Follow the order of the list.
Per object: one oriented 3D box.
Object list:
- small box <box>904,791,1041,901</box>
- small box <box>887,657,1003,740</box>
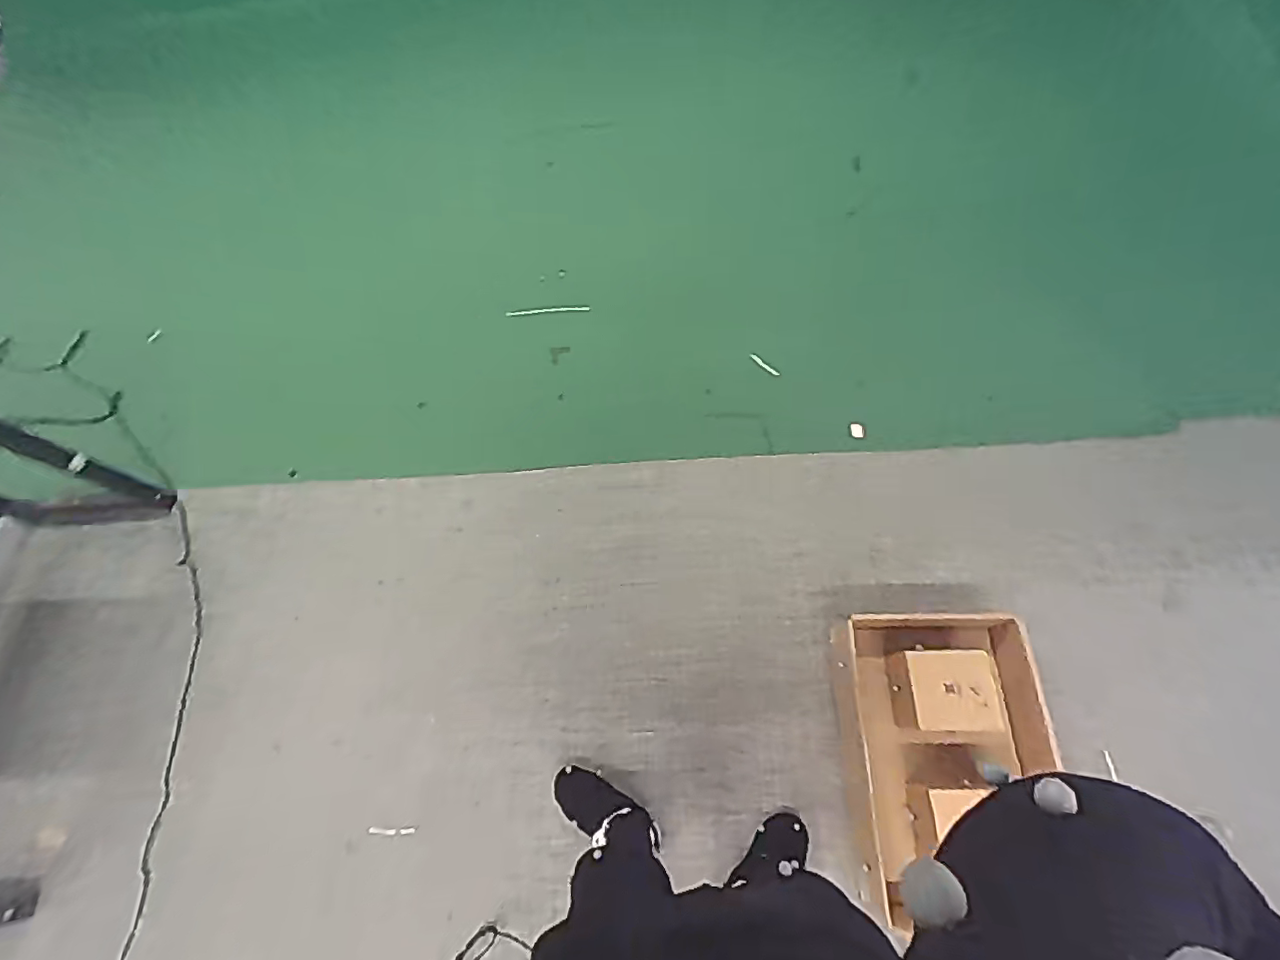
[{"bbox_3d":[0.683,0.755,1.133,0.179,0.176,0.168,-2,64,6],"label":"small box"},{"bbox_3d":[0.687,0.504,1.246,0.179,0.176,0.168,-1,67,5],"label":"small box"}]
